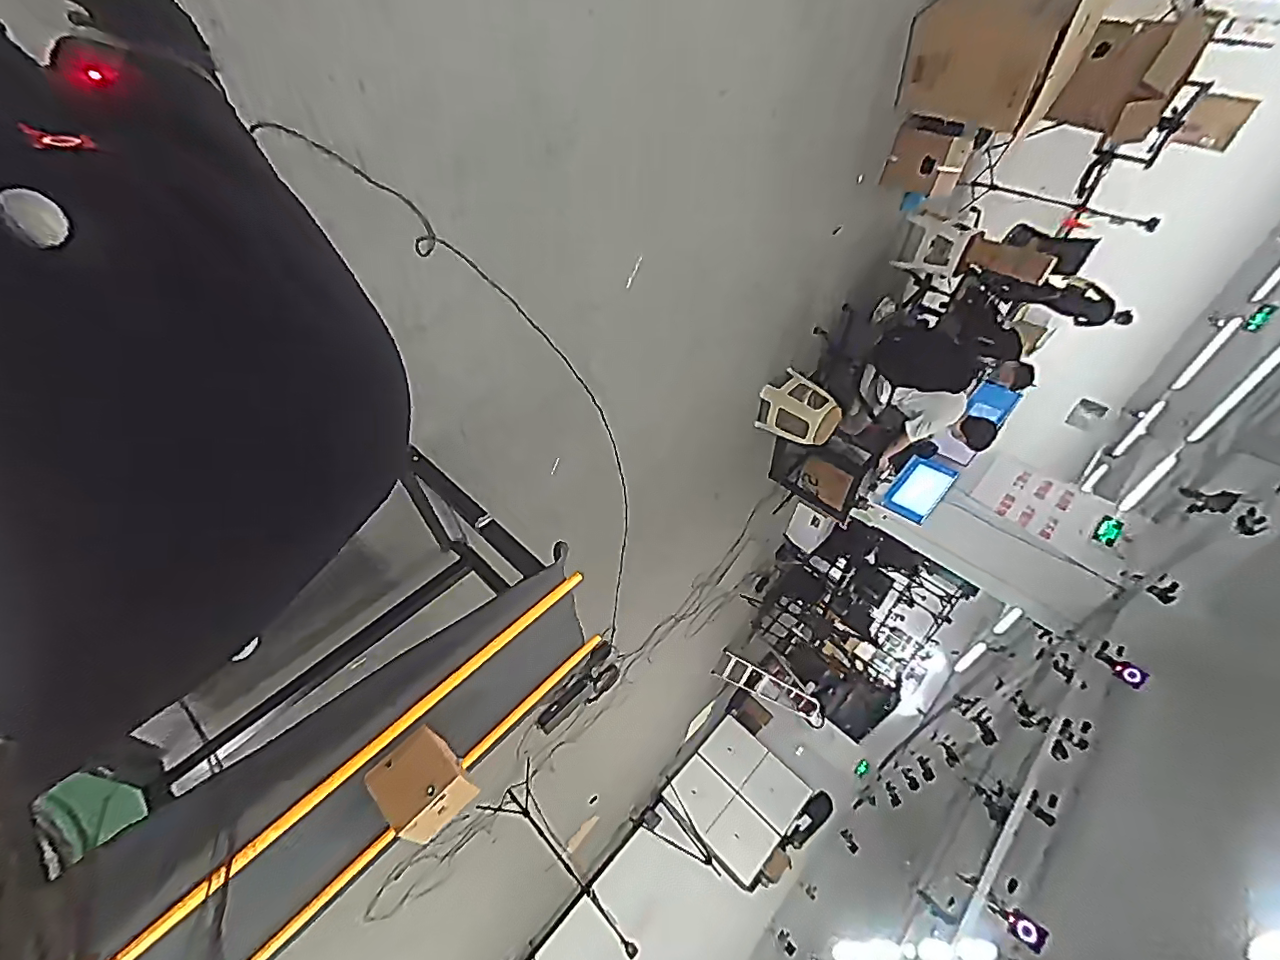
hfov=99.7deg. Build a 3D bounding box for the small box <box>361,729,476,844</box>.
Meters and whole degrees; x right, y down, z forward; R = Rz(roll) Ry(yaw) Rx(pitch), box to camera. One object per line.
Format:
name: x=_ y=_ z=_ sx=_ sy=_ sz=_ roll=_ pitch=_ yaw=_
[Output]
small box: x=-0.532 y=0.738 z=1.309 sx=0.168 sy=0.176 sz=0.179 roll=-41 pitch=150 yaw=-26
